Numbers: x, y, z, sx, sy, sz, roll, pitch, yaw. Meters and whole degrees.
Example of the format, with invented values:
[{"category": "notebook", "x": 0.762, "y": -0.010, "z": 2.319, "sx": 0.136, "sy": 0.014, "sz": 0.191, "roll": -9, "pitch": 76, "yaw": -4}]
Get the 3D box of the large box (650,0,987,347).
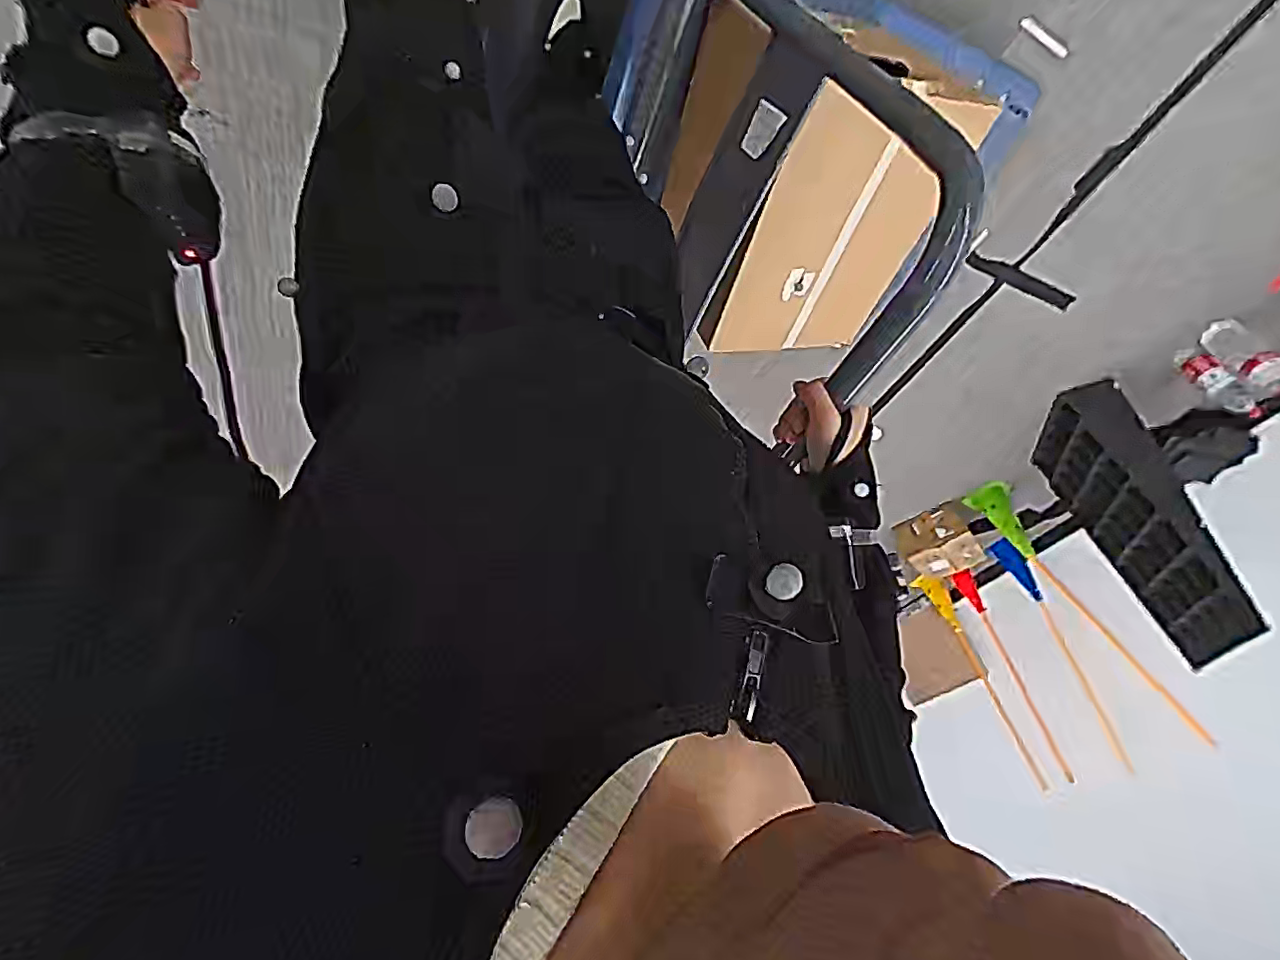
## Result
[{"category": "large box", "x": 0.243, "y": -0.486, "z": 0.900, "sx": 0.320, "sy": 0.320, "sz": 0.408, "roll": -8, "pitch": 146, "yaw": -21}]
